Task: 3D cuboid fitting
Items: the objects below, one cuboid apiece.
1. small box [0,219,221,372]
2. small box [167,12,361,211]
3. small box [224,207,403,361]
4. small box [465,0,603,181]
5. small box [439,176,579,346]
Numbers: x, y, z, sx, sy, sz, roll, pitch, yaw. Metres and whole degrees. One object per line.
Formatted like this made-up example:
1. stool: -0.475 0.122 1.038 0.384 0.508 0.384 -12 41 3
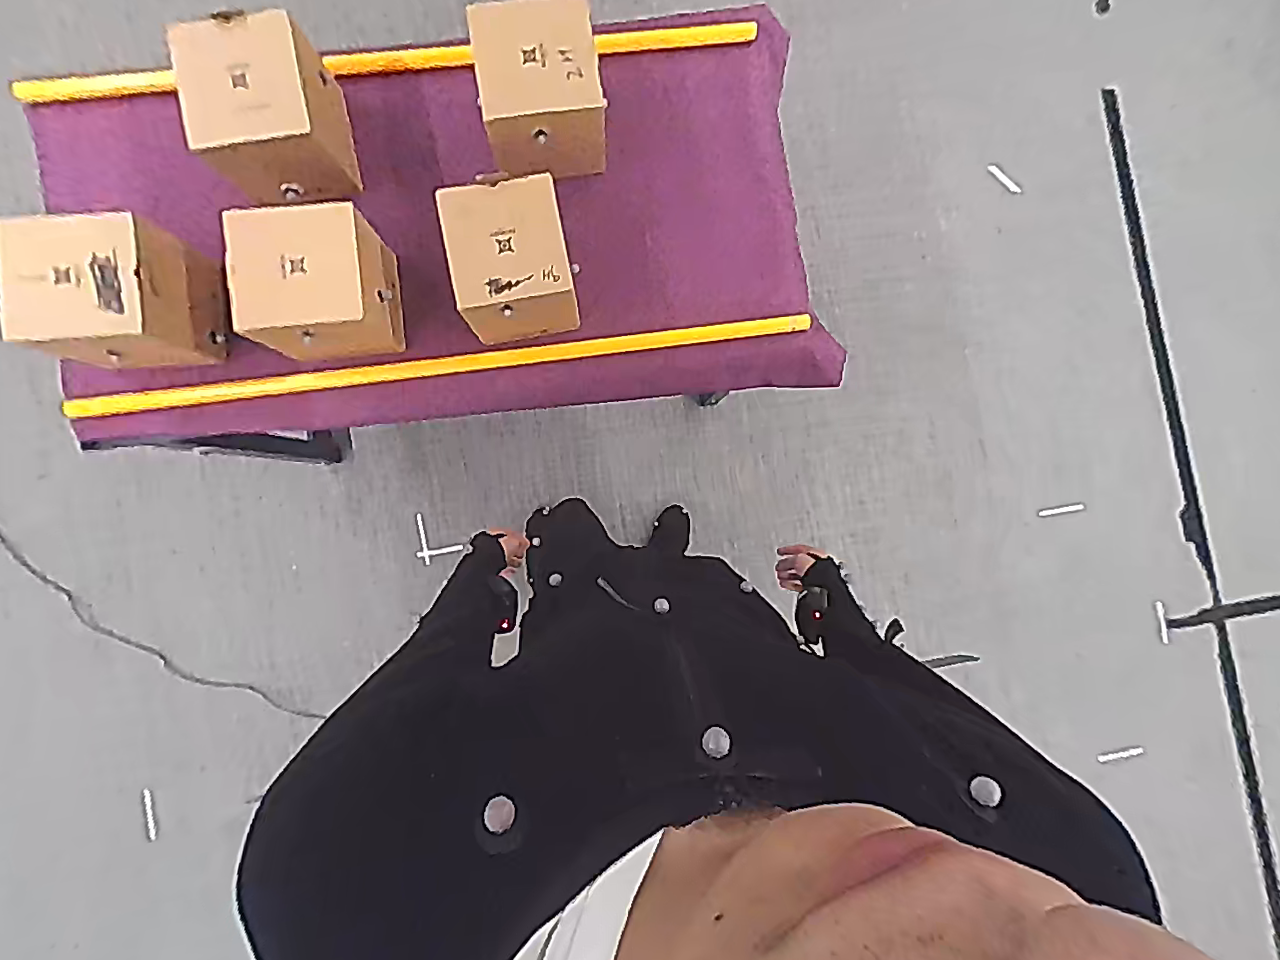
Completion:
1. small box: -0.755 -0.260 0.793 0.179 0.176 0.168 -5 89 -4
2. small box: -0.552 -0.544 0.817 0.168 0.176 0.179 -11 90 -3
3. small box: -0.474 -0.285 0.816 0.179 0.176 0.168 -7 89 -3
4. small box: -0.155 -0.594 0.844 0.179 0.176 0.168 -9 91 -4
5. small box: -0.192 -0.327 0.834 0.168 0.176 0.179 -11 87 -4
